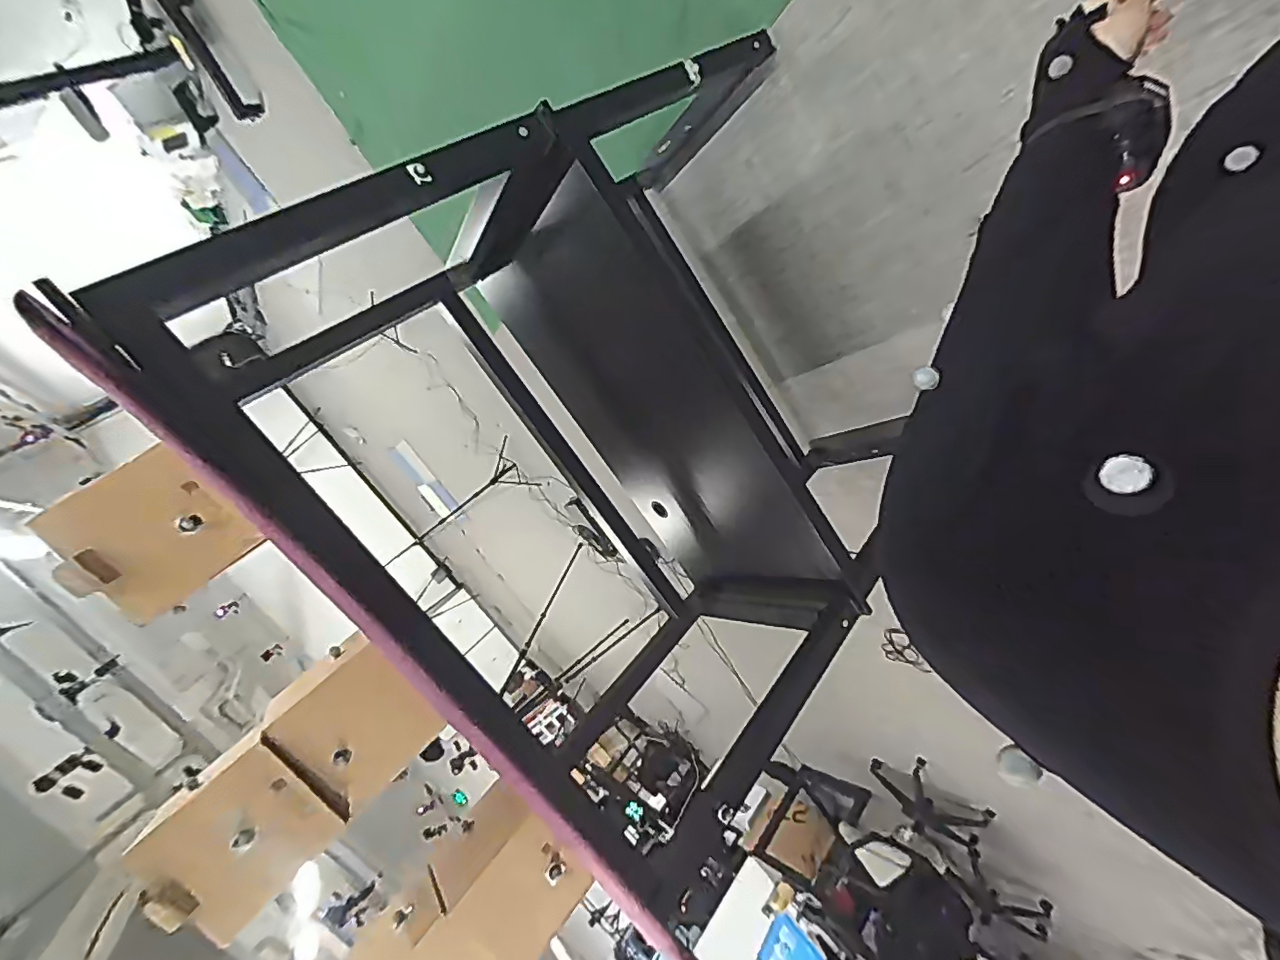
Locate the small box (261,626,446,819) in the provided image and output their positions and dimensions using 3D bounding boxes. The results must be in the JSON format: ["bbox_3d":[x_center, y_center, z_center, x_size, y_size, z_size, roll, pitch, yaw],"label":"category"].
[{"bbox_3d":[-0.421,0.350,0.814,0.179,0.176,0.168,55,152,-13],"label":"small box"}]

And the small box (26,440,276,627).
[{"bbox_3d":[-0.623,0.065,0.725,0.168,0.176,0.179,54,153,-16],"label":"small box"}]

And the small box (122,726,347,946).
[{"bbox_3d":[-0.520,0.452,0.730,0.168,0.176,0.179,52,152,-9],"label":"small box"}]

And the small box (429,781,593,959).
[{"bbox_3d":[-0.204,0.621,0.863,0.168,0.176,0.179,52,150,-10],"label":"small box"}]

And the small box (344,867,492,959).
[{"bbox_3d":[-0.307,0.724,0.787,0.179,0.176,0.168,52,151,-10],"label":"small box"}]
